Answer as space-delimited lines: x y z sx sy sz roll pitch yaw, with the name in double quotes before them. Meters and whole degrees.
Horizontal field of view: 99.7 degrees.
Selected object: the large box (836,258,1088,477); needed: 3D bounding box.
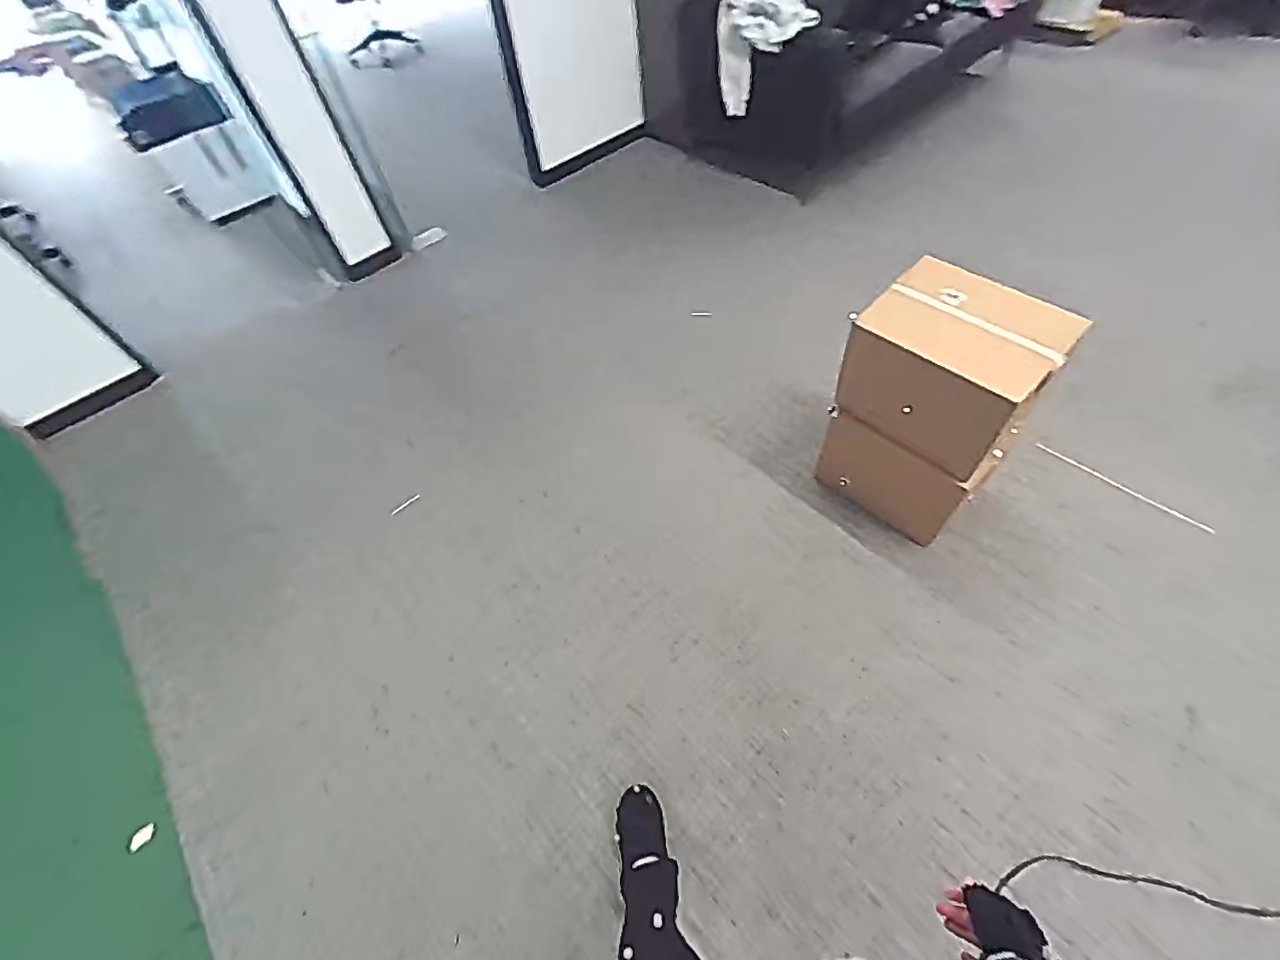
"large box" 0.770 -0.282 1.360 0.320 0.320 0.408 -41 59 -16
